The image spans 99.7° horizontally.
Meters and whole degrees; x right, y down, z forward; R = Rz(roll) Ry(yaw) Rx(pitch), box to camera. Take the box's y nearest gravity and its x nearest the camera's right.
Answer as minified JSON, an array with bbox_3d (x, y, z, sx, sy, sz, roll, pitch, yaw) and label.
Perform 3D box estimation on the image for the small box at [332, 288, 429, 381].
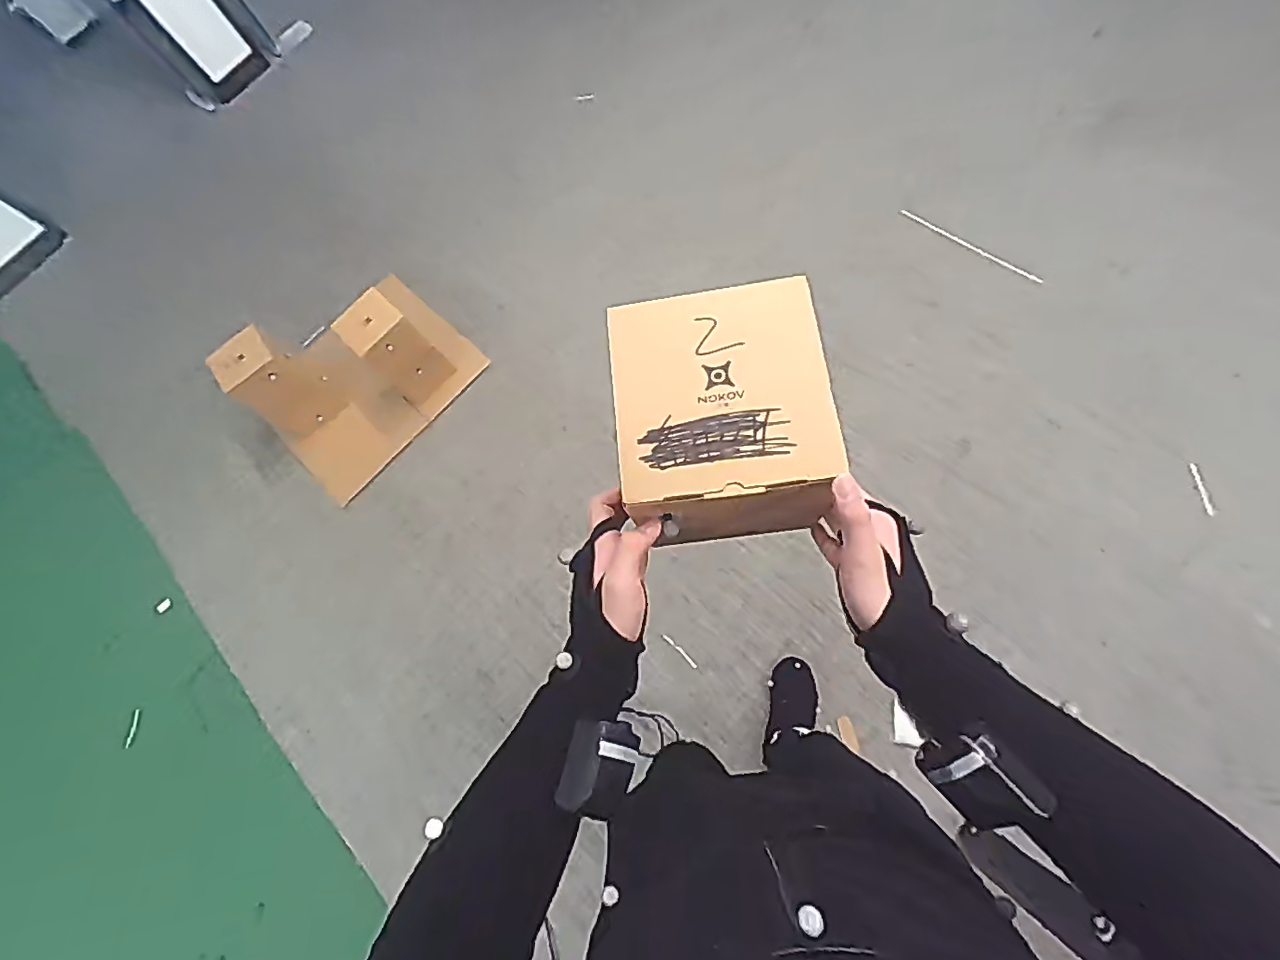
[{"bbox_3d":[-0.774,-0.437,1.641,0.168,0.176,0.179,42,85,18],"label":"small box"}]

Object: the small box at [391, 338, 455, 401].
[{"bbox_3d":[-0.753,-0.394,1.795,0.168,0.176,0.179,42,84,18],"label":"small box"}]

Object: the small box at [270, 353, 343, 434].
[{"bbox_3d":[-1.143,-0.288,1.826,0.179,0.176,0.168,-38,70,-4],"label":"small box"}]

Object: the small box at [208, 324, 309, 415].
[{"bbox_3d":[-1.163,-0.335,1.668,0.179,0.176,0.168,-39,70,-4],"label":"small box"}]
